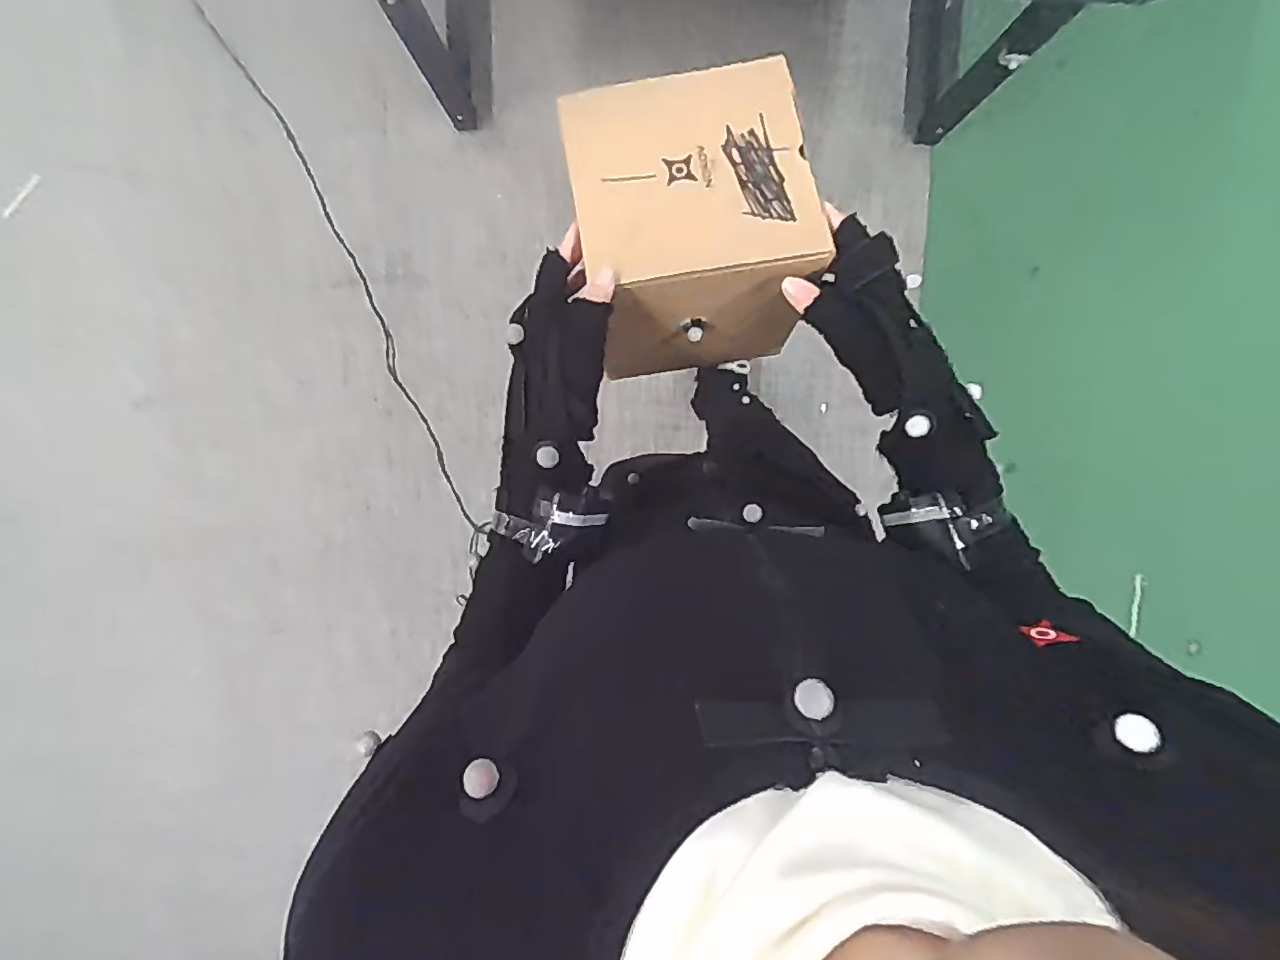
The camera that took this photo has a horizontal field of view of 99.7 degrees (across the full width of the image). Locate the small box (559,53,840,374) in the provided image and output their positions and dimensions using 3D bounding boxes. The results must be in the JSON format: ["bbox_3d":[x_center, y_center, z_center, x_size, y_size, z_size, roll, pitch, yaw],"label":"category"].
[{"bbox_3d":[0.038,-0.208,0.462,0.179,0.176,0.168,-12,79,-3],"label":"small box"}]
